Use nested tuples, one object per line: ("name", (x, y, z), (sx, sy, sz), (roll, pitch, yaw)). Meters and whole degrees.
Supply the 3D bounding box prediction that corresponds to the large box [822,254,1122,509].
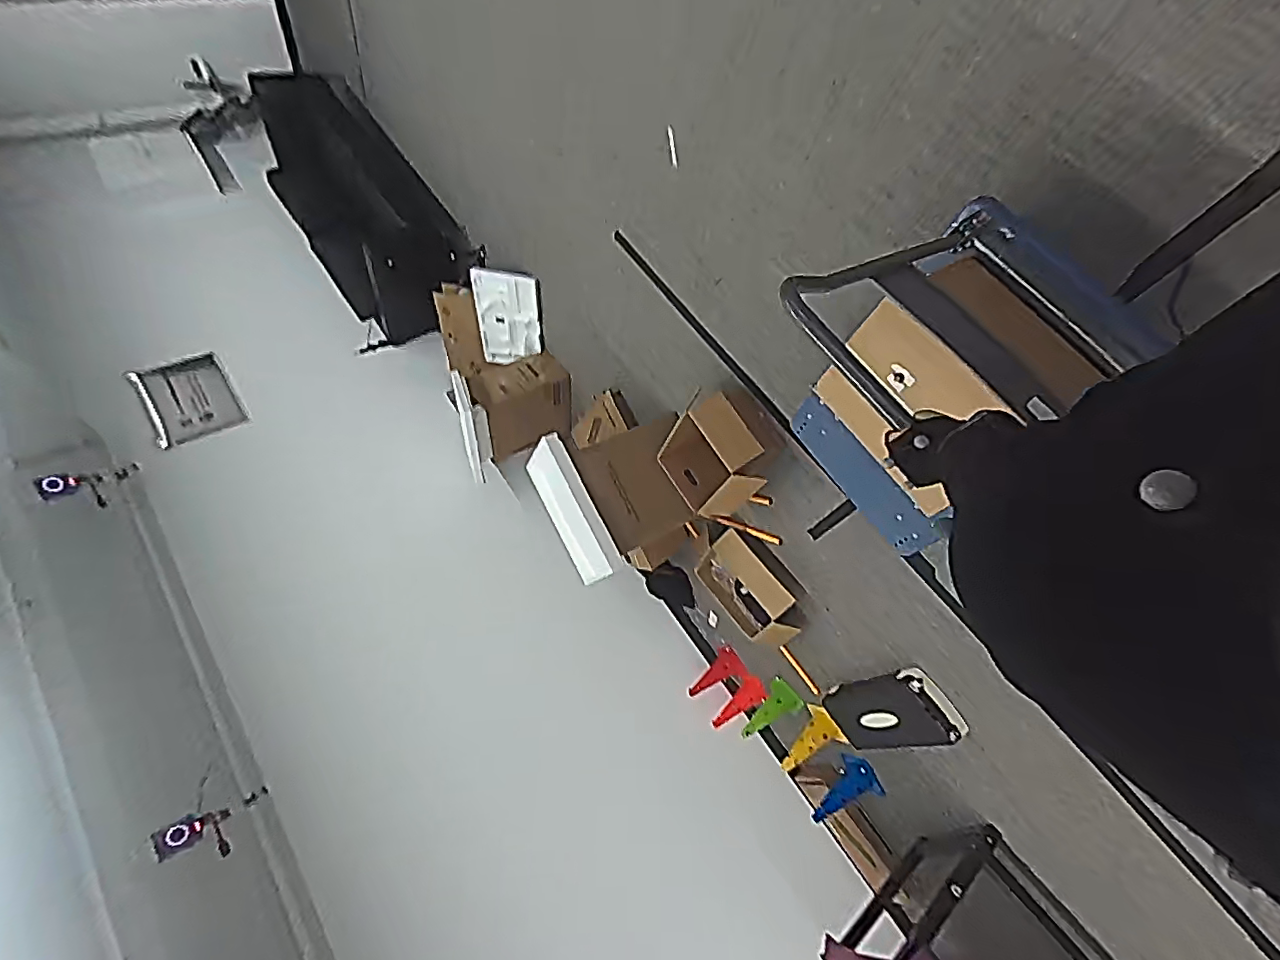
("large box", (0.705, -0.217, 1.195), (0.408, 0.320, 0.320), (55, 153, 17))
